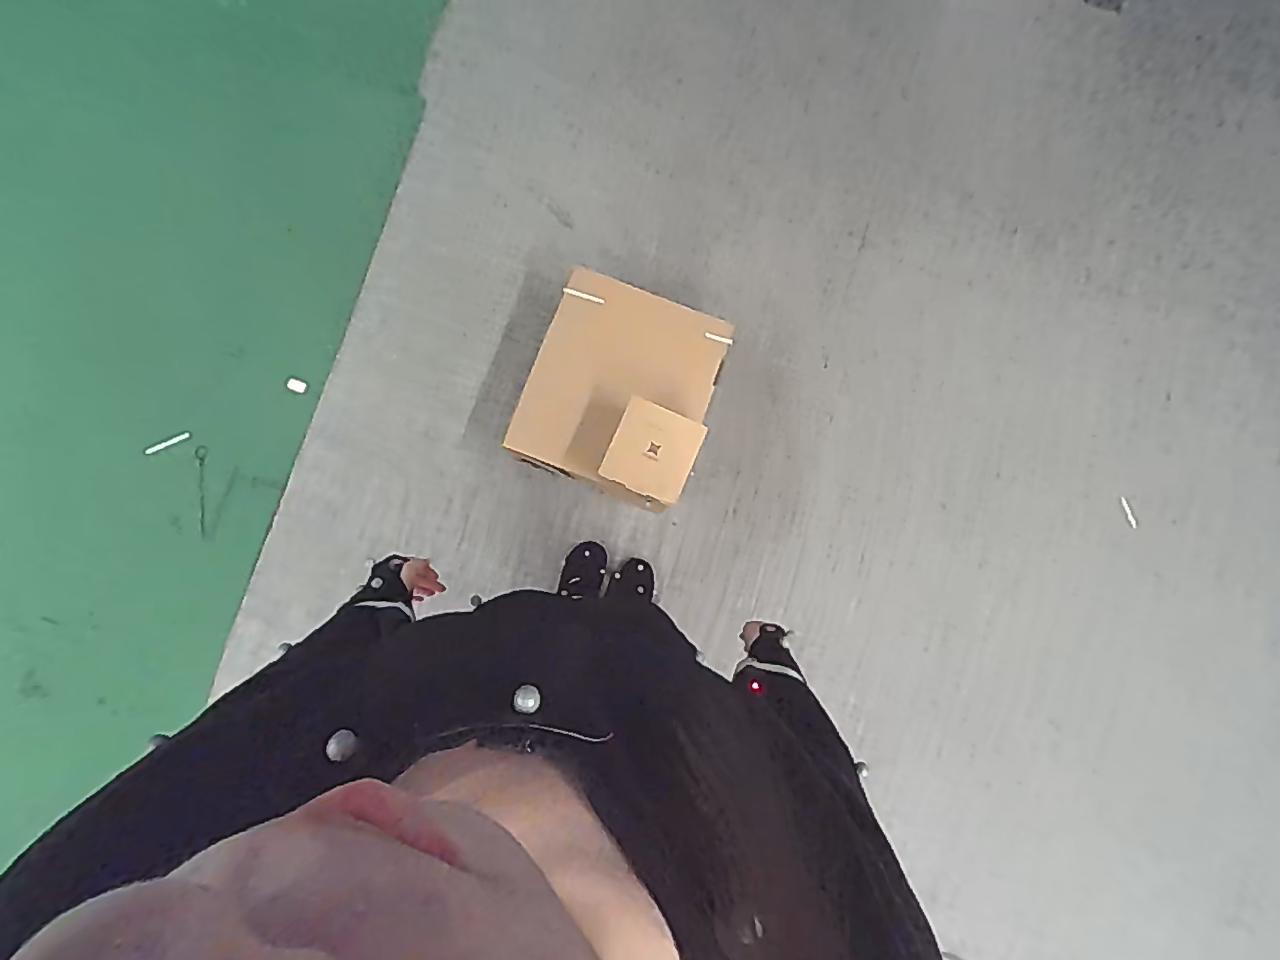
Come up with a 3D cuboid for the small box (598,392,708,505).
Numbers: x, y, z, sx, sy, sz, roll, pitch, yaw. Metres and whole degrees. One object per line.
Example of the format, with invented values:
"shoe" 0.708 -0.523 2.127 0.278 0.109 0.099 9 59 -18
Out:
"small box" 0.023 -0.056 1.130 0.168 0.176 0.179 25 85 -2
